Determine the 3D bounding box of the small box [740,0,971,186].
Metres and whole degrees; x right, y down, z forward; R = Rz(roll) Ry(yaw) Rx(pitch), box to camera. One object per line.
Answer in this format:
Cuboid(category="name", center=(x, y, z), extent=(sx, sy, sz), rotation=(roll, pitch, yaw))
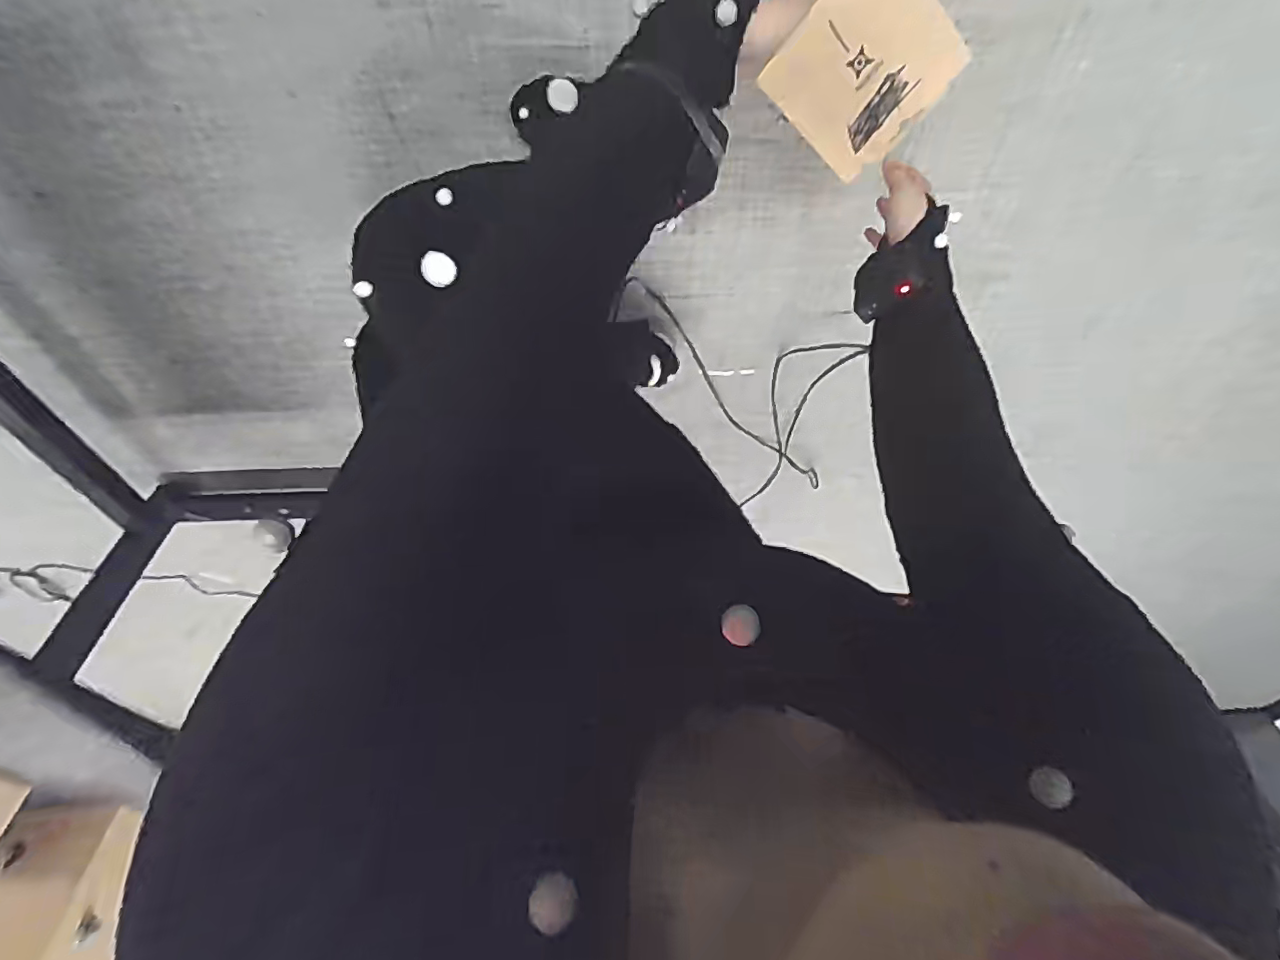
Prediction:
Cuboid(category="small box", center=(0.244, -0.503, 0.644), extent=(0.179, 0.176, 0.168), rotation=(28, 130, -29))
